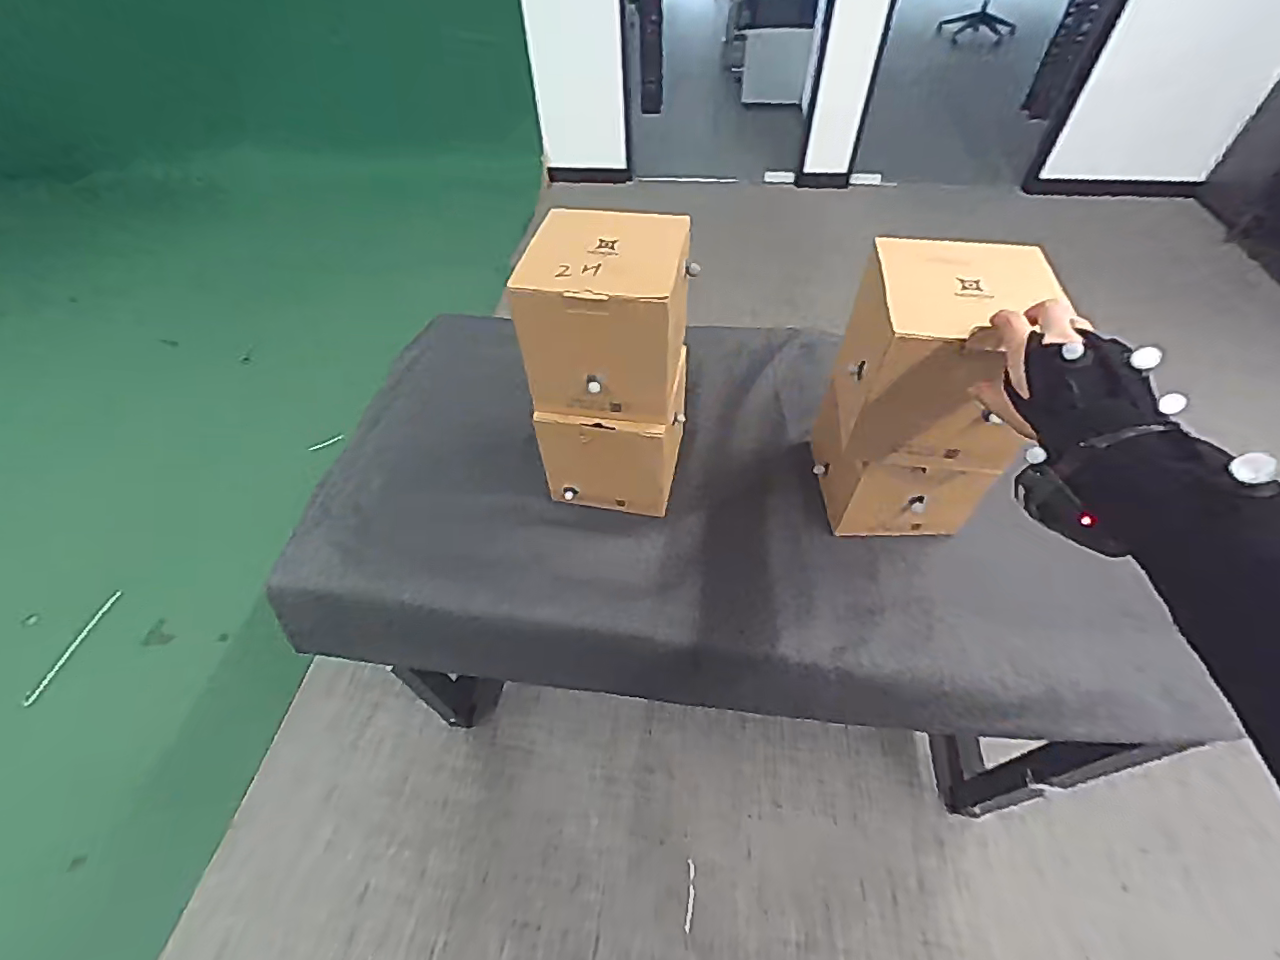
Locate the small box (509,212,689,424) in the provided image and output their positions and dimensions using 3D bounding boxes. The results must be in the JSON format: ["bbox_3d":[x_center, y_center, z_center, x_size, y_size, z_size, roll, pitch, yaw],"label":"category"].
[{"bbox_3d":[-0.036,-0.192,0.643,0.168,0.176,0.179,7,51,8],"label":"small box"}]

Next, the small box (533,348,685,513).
[{"bbox_3d":[-0.032,-0.075,0.761,0.168,0.176,0.179,9,51,9],"label":"small box"}]

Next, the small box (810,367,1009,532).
[{"bbox_3d":[0.337,-0.042,0.721,0.168,0.176,0.179,-1,51,1],"label":"small box"}]

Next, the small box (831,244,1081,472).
[{"bbox_3d":[0.312,-0.129,0.582,0.168,0.176,0.179,7,50,7],"label":"small box"}]
